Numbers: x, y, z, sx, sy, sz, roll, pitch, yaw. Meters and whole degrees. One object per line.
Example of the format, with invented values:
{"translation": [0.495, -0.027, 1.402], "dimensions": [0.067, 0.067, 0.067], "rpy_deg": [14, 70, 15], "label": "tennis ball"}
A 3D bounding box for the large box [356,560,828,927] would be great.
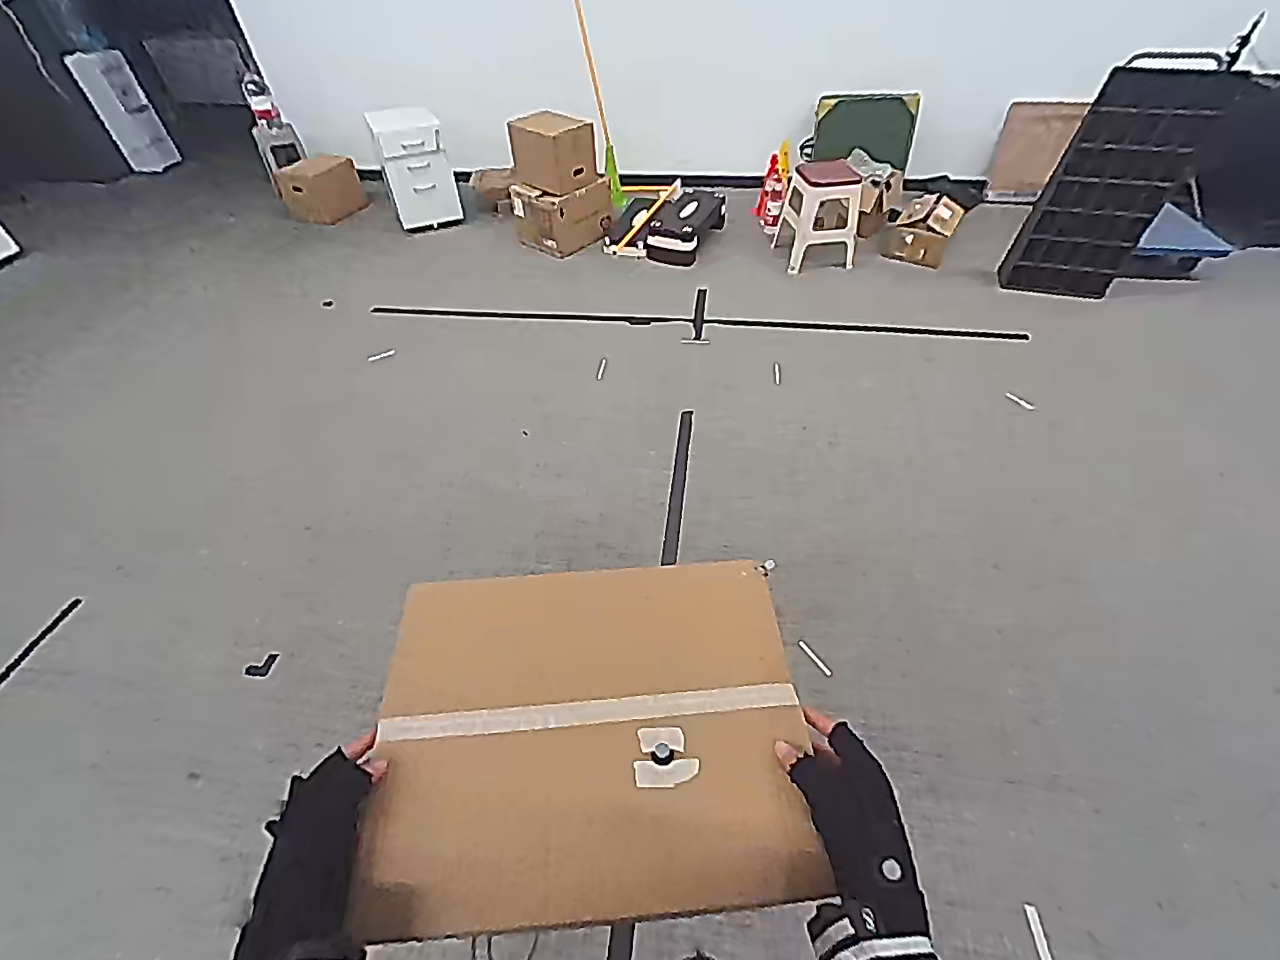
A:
{"translation": [-0.048, 0.321, 0.655], "dimensions": [0.408, 0.320, 0.320], "rpy_deg": [-3, 51, -2], "label": "large box"}
